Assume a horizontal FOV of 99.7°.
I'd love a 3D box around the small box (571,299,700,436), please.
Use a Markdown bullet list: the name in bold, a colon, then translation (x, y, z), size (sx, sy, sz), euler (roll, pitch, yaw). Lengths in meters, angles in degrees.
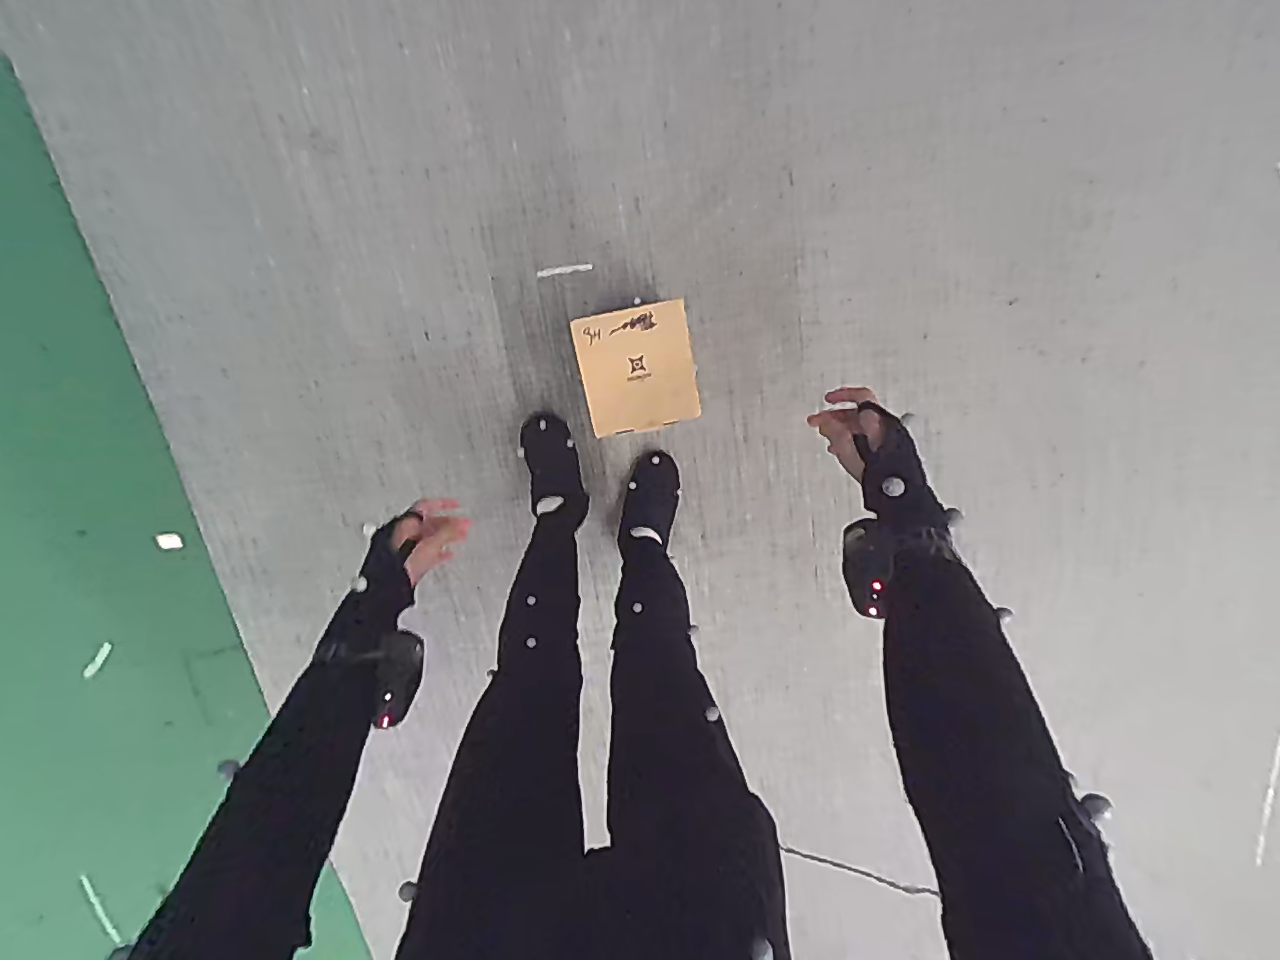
- **small box**: translation (-0.005, -0.182, 0.855), size (0.168, 0.176, 0.179), euler (-10, 106, 1)
